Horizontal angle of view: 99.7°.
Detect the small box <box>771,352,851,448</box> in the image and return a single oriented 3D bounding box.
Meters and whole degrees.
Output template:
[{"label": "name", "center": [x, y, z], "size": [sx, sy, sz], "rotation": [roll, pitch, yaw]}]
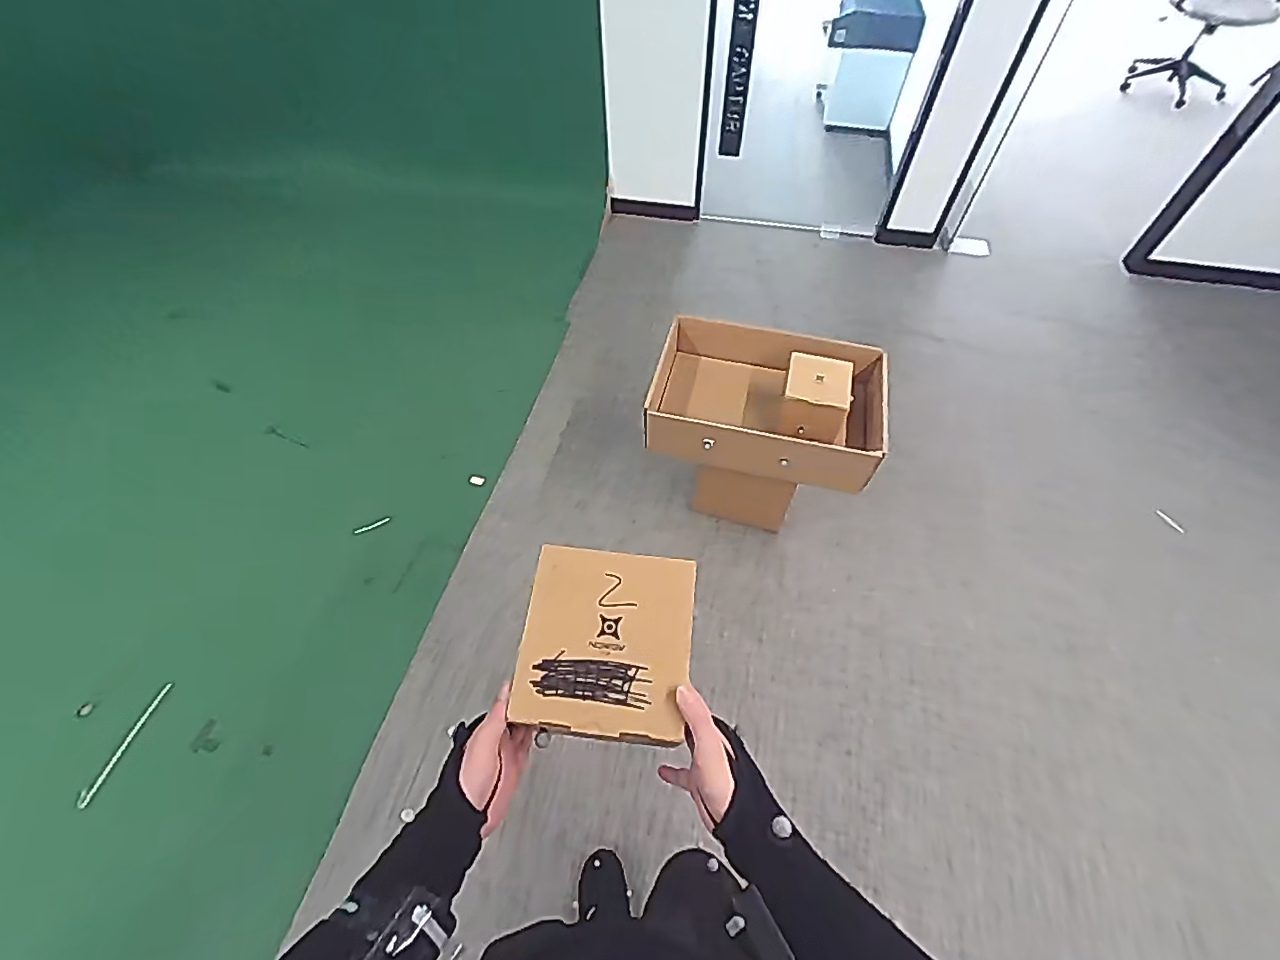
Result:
[{"label": "small box", "center": [0.466, -0.217, 1.486], "size": [0.168, 0.176, 0.179], "rotation": [13, 57, 7]}]
